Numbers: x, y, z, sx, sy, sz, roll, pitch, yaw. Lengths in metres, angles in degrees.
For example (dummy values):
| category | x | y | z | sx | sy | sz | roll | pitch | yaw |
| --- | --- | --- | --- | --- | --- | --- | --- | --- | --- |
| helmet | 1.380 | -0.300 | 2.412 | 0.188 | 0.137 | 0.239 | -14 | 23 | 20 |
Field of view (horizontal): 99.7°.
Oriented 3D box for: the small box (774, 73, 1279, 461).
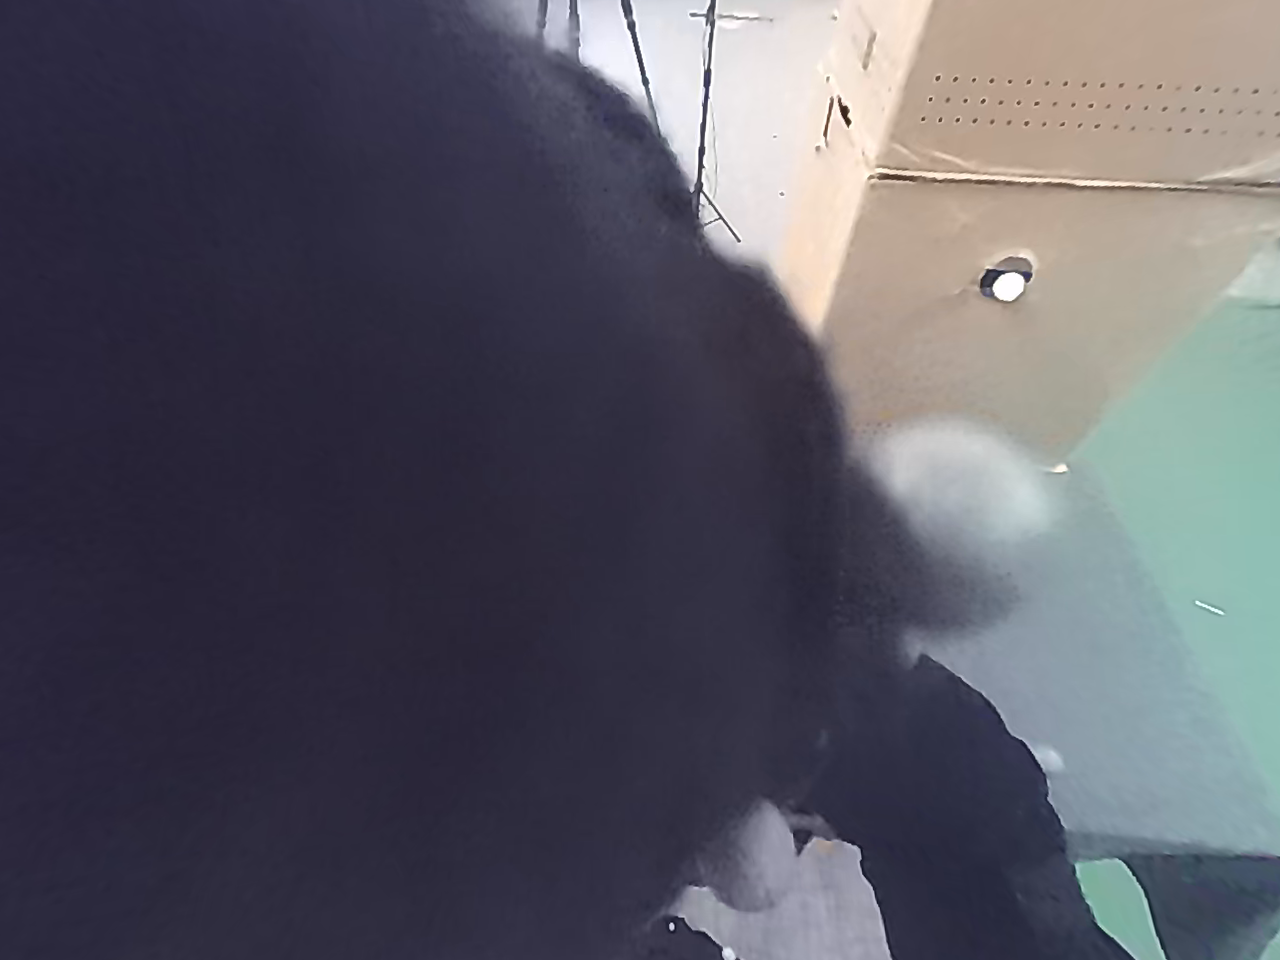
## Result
| category | x | y | z | sx | sy | sz | roll | pitch | yaw |
| --- | --- | --- | --- | --- | --- | --- | --- | --- | --- |
| small box | 0.185 | -0.127 | 0.337 | 0.179 | 0.176 | 0.168 | 4 | 51 | 3 |
